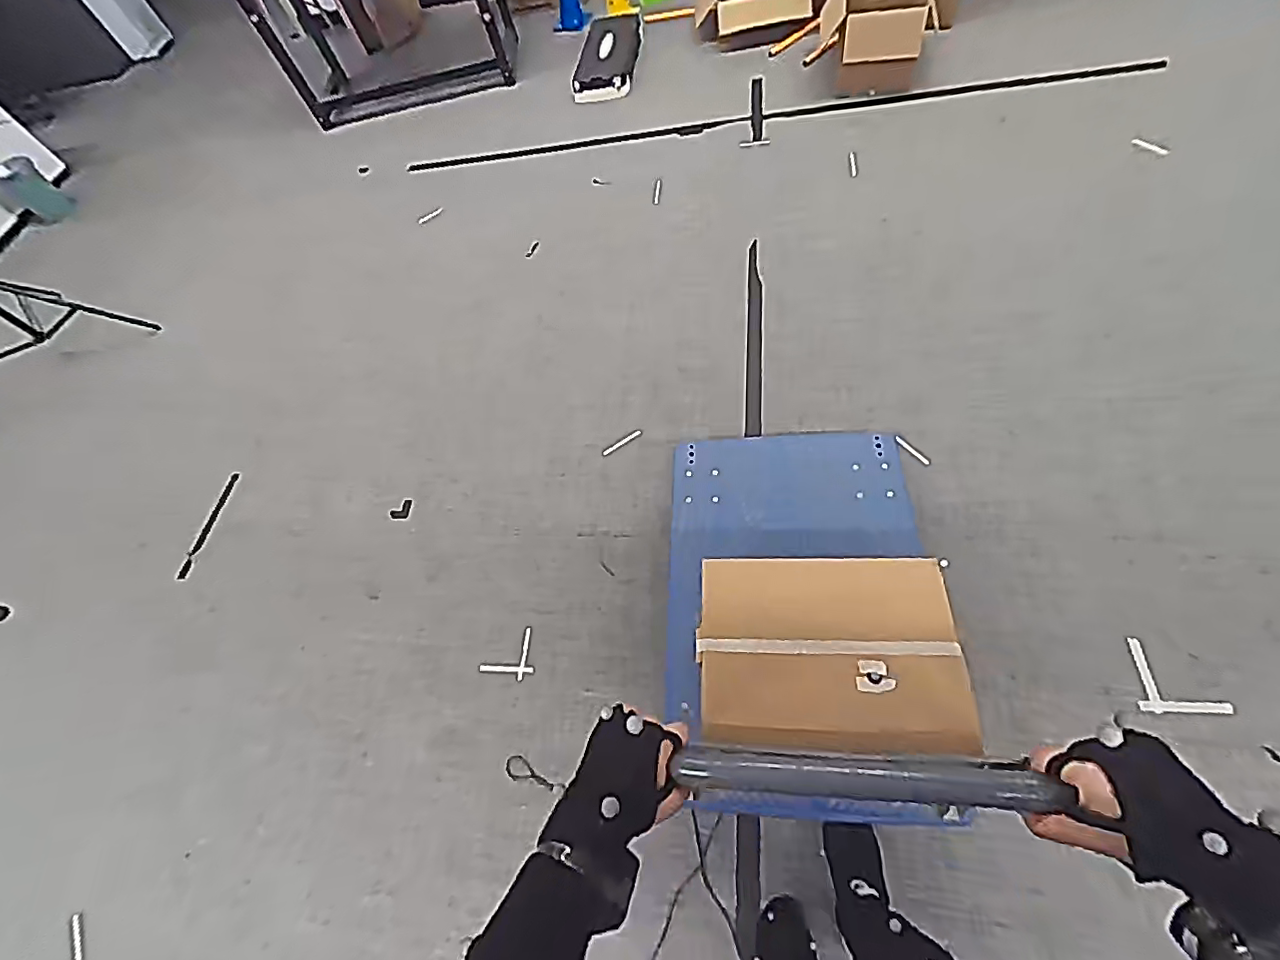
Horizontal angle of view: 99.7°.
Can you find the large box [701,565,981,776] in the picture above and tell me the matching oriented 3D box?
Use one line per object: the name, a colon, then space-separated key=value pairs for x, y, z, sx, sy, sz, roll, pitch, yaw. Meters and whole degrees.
large box: x=0.322 y=0.360 z=1.002 sx=0.408 sy=0.320 sz=0.320 roll=-1 pitch=60 yaw=9
